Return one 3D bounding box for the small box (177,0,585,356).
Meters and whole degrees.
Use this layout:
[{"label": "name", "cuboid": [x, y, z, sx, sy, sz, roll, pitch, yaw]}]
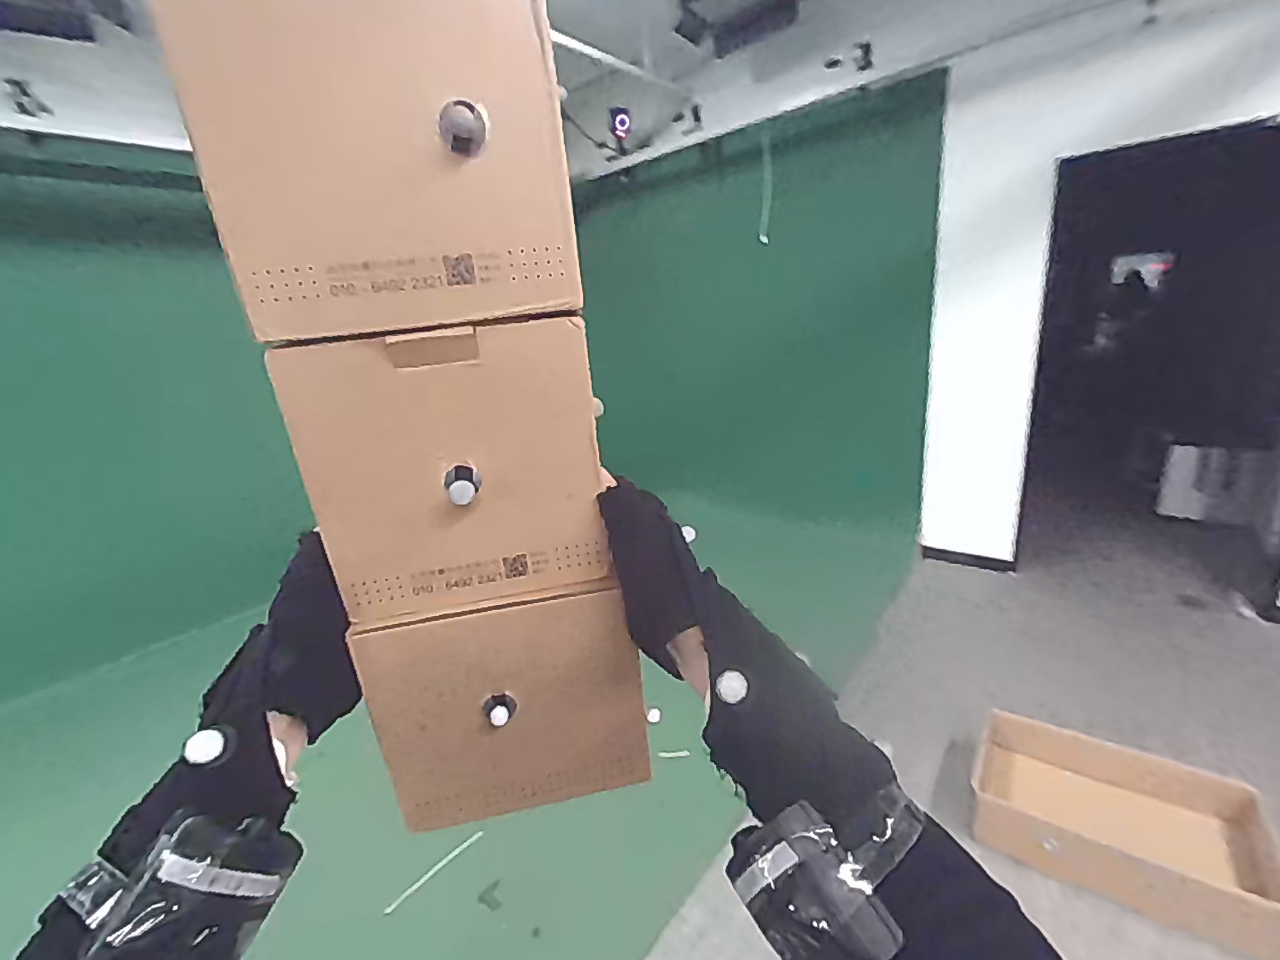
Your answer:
[{"label": "small box", "cuboid": [-0.131, -0.174, 0.349, 0.168, 0.176, 0.179, -8, 18, -9]}]
